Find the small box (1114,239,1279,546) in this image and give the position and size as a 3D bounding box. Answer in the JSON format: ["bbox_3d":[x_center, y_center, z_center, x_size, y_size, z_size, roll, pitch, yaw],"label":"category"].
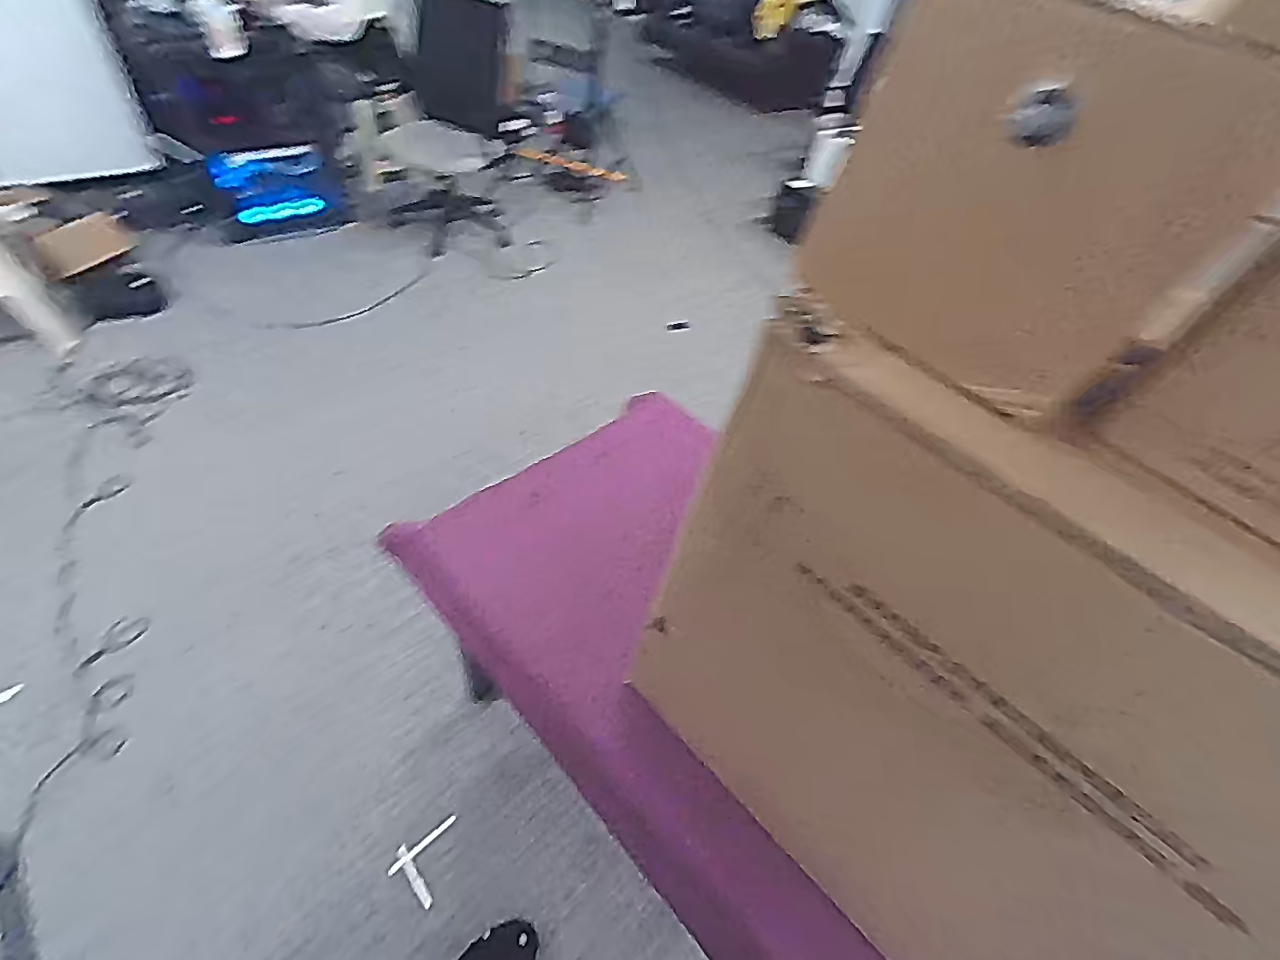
[{"bbox_3d":[0.389,-0.063,0.260,0.179,0.176,0.168,-32,62,-30],"label":"small box"}]

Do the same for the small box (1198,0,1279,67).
[{"bbox_3d":[0.347,-0.222,0.170,0.179,0.176,0.168,34,52,16],"label":"small box"}]
